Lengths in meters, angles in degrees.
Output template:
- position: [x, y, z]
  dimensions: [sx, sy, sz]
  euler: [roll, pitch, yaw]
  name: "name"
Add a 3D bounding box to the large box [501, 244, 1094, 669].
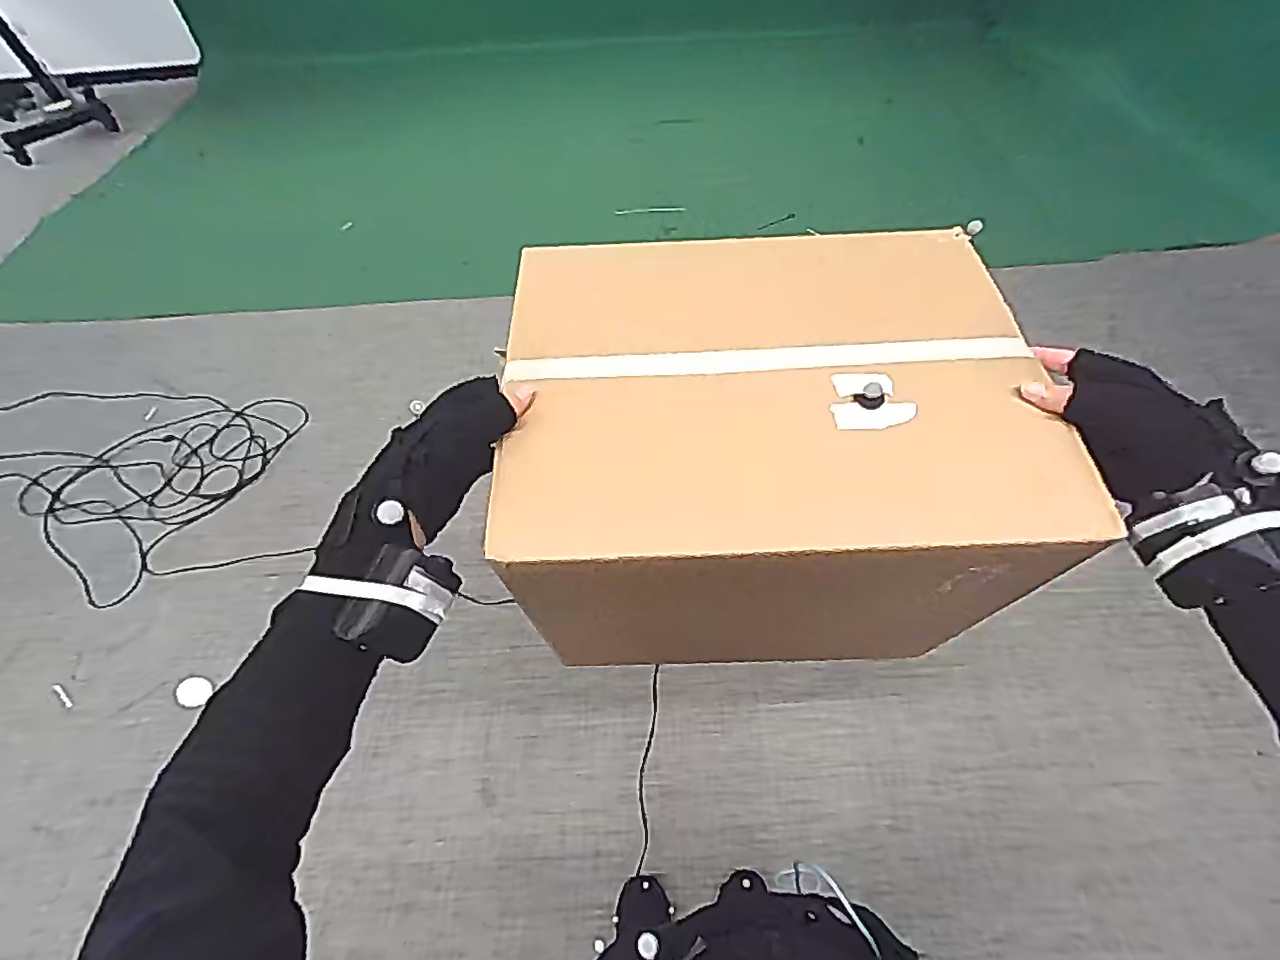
- position: [0.101, -0.005, 0.560]
  dimensions: [0.408, 0.320, 0.320]
  euler: [-3, 59, 1]
  name: "large box"
